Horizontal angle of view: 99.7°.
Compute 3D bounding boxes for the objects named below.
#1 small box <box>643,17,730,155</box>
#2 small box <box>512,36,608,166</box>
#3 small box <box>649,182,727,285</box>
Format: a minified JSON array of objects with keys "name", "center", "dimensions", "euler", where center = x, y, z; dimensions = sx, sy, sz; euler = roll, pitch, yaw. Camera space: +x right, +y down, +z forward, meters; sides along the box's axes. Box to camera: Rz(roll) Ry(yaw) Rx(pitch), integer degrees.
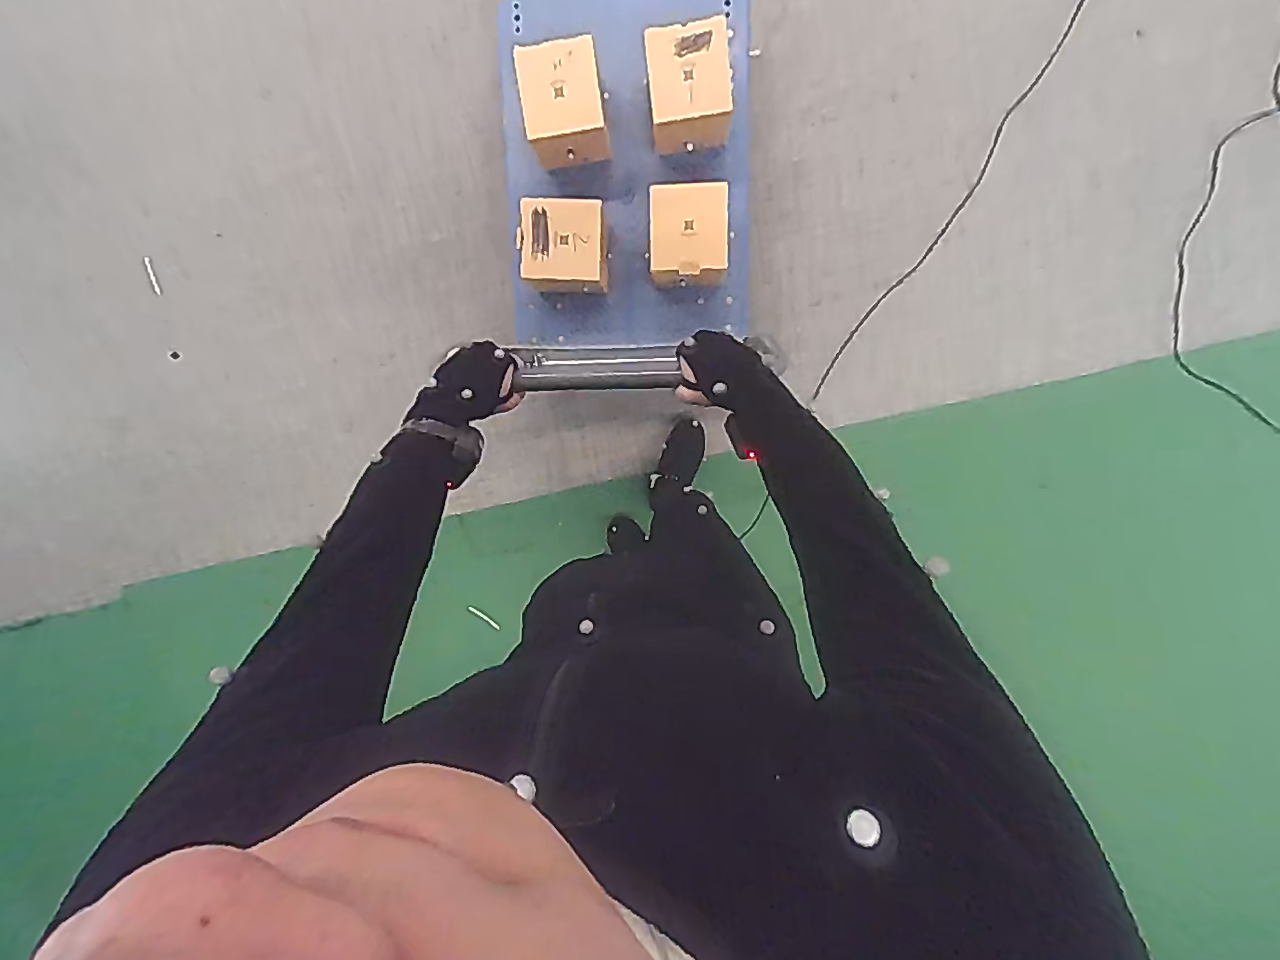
[{"name":"small box","center":[0.098,-0.838,1.167],"dimensions":[0.168,0.176,0.179],"euler":[-6,101,5]},{"name":"small box","center":[-0.167,-0.814,1.185],"dimensions":[0.168,0.176,0.179],"euler":[-7,99,3]},{"name":"small box","center":[0.104,-0.548,1.221],"dimensions":[0.168,0.176,0.179],"euler":[-1,101,3]}]
